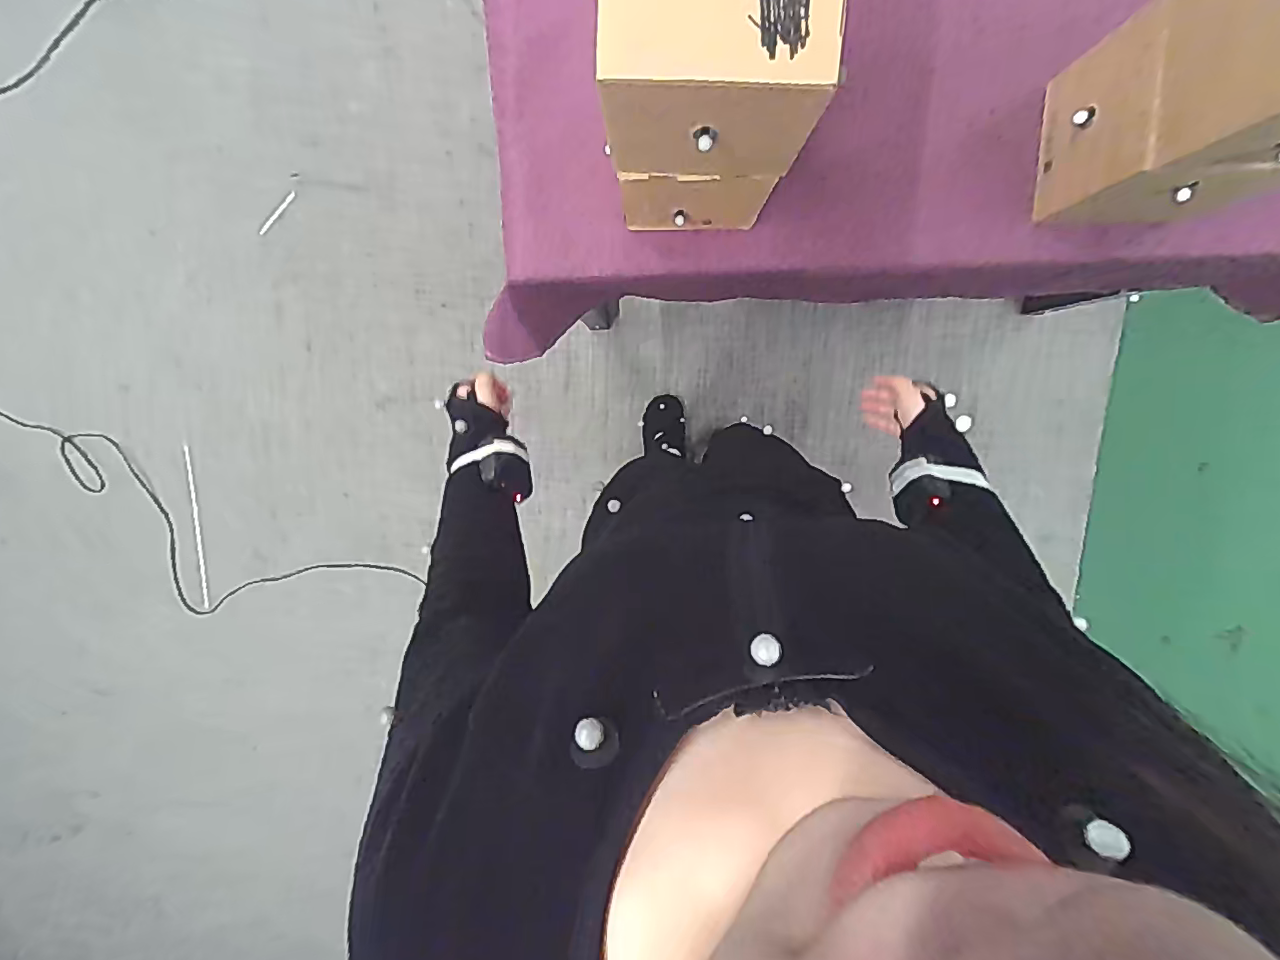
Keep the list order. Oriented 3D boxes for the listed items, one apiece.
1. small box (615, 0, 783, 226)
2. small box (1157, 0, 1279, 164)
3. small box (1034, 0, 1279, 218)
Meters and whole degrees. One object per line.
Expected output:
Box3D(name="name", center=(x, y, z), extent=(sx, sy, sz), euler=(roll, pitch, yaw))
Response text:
Box3D(name="small box", center=(0.058, -0.407, 0.613), extent=(0.168, 0.176, 0.179), euler=(0, 100, 2))
Box3D(name="small box", center=(0.573, -0.383, 0.431), extent=(0.168, 0.176, 0.179), euler=(-2, 99, 3))
Box3D(name="small box", center=(0.579, -0.400, 0.594), extent=(0.179, 0.176, 0.168), euler=(1, 99, 2))
